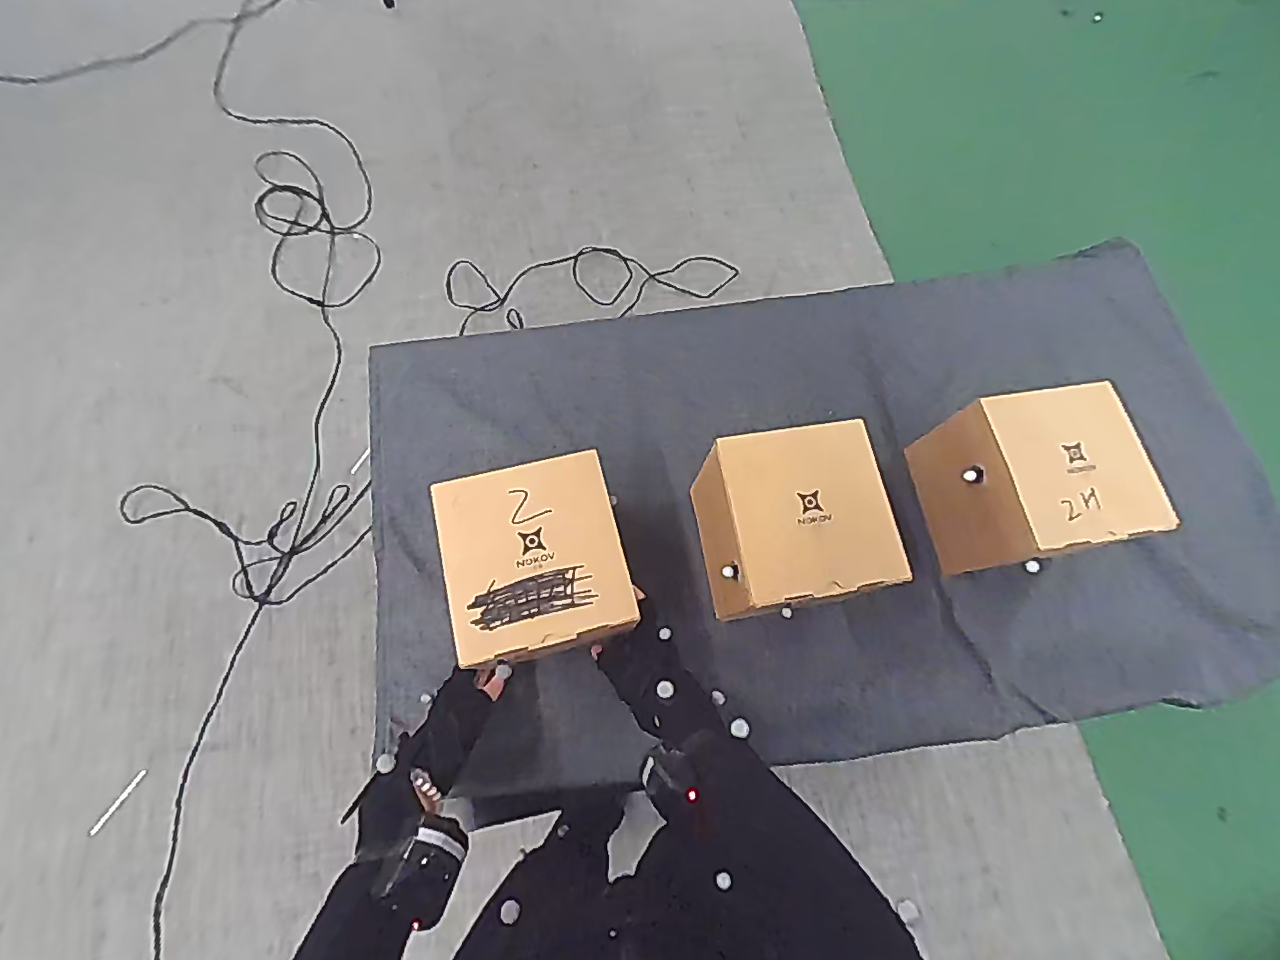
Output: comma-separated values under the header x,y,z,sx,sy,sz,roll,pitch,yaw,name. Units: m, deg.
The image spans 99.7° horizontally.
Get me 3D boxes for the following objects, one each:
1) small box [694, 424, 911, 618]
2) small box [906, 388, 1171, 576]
x,y,z,sx,sy,sz,roll,pitch,yaw,name
0.168,0.055,0.622,0.168,0.176,0.179,-8,73,-8,small box
0.460,0.009,0.660,0.168,0.176,0.179,-8,73,-7,small box
